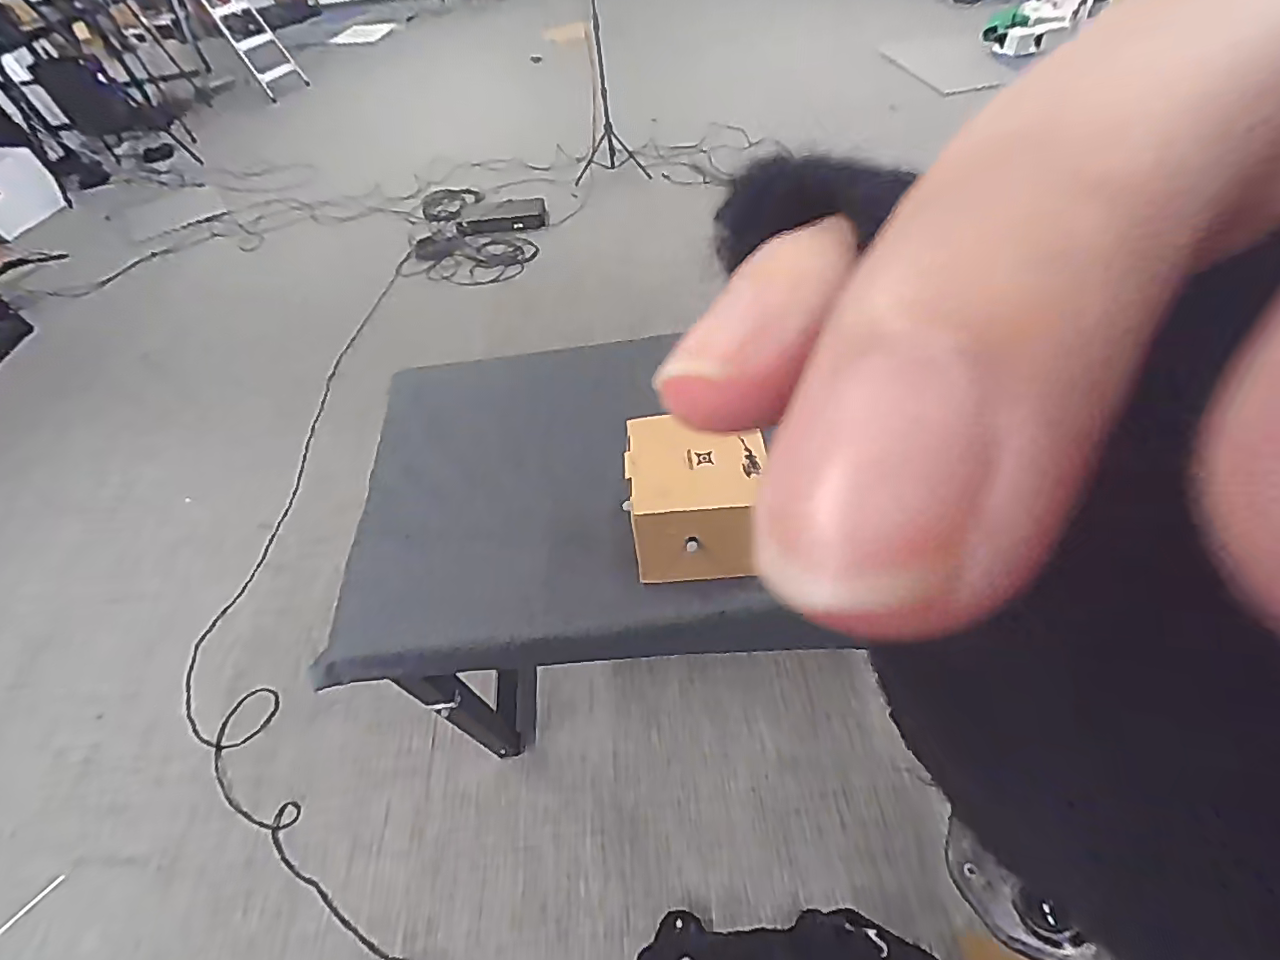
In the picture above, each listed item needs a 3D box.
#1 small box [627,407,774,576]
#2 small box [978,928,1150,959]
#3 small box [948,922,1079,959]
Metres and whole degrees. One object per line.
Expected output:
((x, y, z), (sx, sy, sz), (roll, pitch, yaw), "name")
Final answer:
((0.079, 0.022, 0.748), (0.179, 0.176, 0.168), (-4, 51, 3), "small box")
((0.657, 0.785, 0.813), (0.179, 0.176, 0.168), (-5, 50, 3), "small box")
((0.681, 0.885, 0.942), (0.179, 0.176, 0.168), (-8, 50, 1), "small box")
